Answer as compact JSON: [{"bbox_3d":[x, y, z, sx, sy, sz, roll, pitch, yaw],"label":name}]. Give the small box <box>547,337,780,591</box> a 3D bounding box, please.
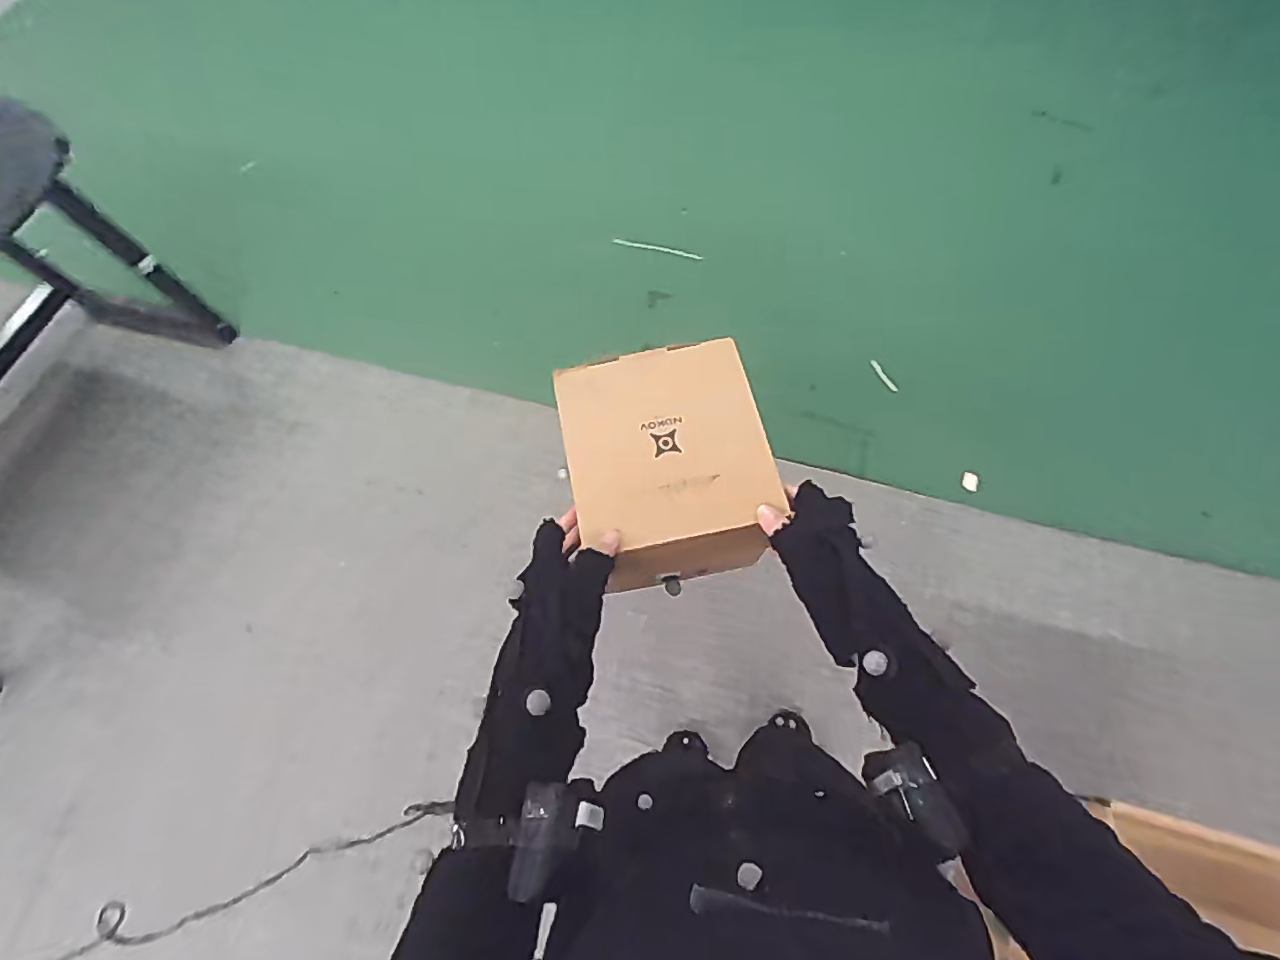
[{"bbox_3d":[0.016,-0.006,0.526,0.168,0.176,0.179,-13,69,-3],"label":"small box"}]
